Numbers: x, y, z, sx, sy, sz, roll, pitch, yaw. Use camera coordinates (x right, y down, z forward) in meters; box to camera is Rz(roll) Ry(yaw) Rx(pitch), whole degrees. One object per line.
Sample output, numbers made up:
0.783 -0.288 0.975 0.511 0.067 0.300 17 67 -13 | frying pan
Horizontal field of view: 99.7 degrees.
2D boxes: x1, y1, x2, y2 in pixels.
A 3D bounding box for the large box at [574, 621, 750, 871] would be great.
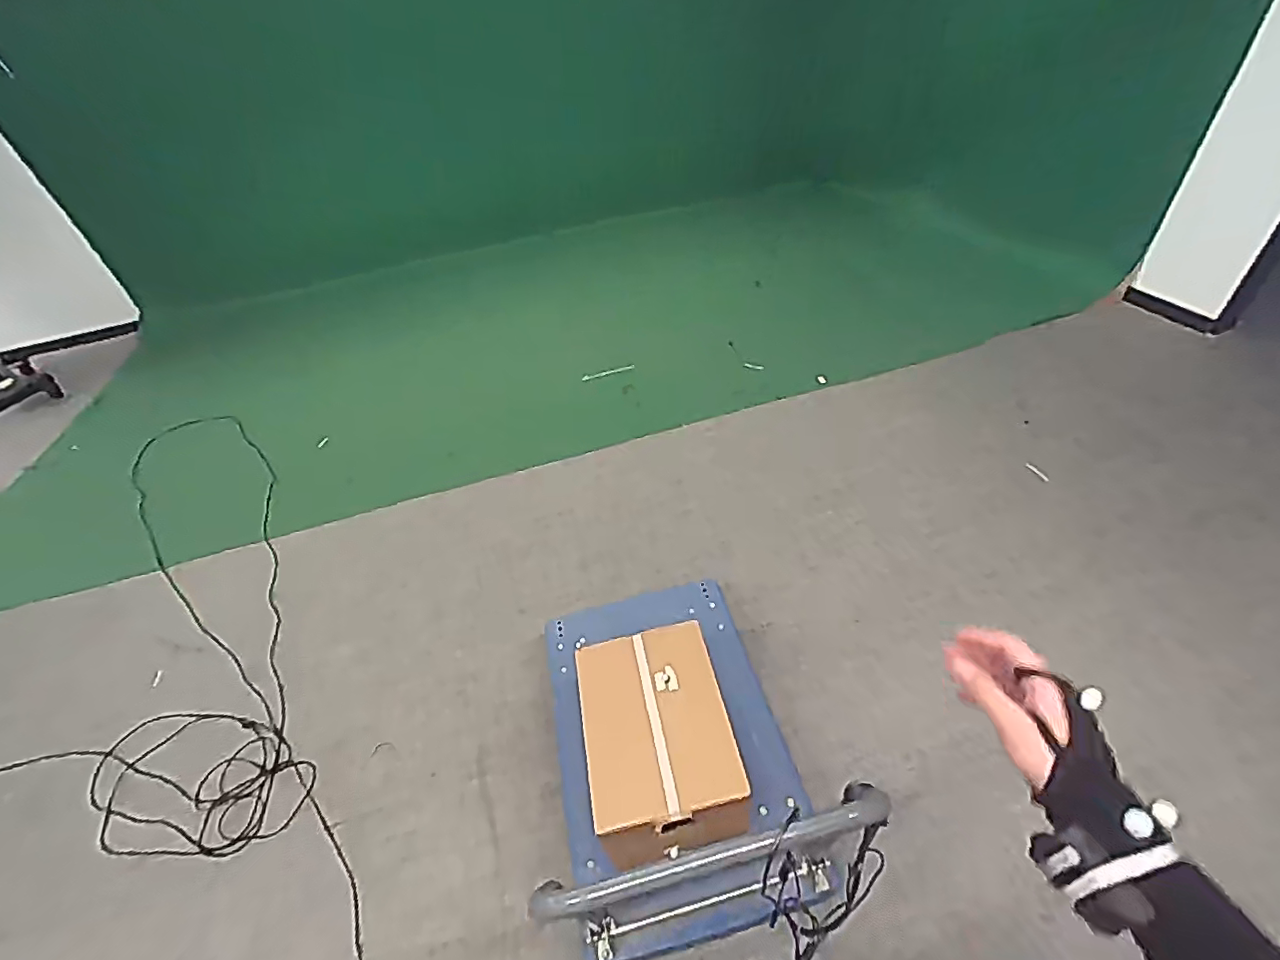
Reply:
0.047 0.616 1.273 0.320 0.320 0.408 -12 42 -4 | large box
